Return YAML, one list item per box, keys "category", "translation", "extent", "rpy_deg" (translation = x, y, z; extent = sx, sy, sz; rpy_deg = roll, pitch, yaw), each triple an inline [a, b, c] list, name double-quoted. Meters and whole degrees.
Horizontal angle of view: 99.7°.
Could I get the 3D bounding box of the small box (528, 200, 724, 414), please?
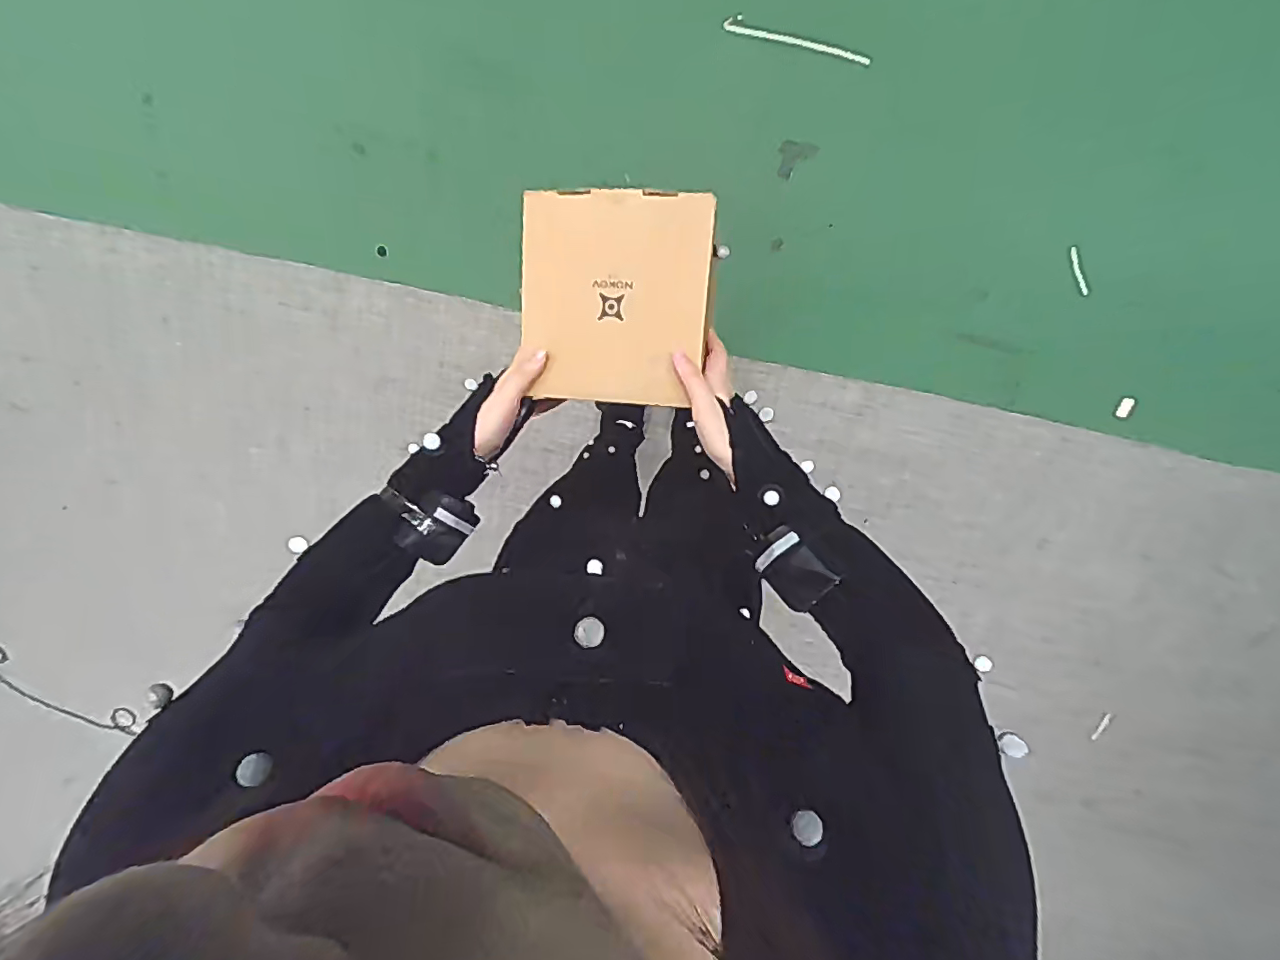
- category: "small box"
  translation: [-0.005, -0.166, 0.549]
  extent: [0.168, 0.176, 0.179]
  rpy_deg: [5, 102, 9]
